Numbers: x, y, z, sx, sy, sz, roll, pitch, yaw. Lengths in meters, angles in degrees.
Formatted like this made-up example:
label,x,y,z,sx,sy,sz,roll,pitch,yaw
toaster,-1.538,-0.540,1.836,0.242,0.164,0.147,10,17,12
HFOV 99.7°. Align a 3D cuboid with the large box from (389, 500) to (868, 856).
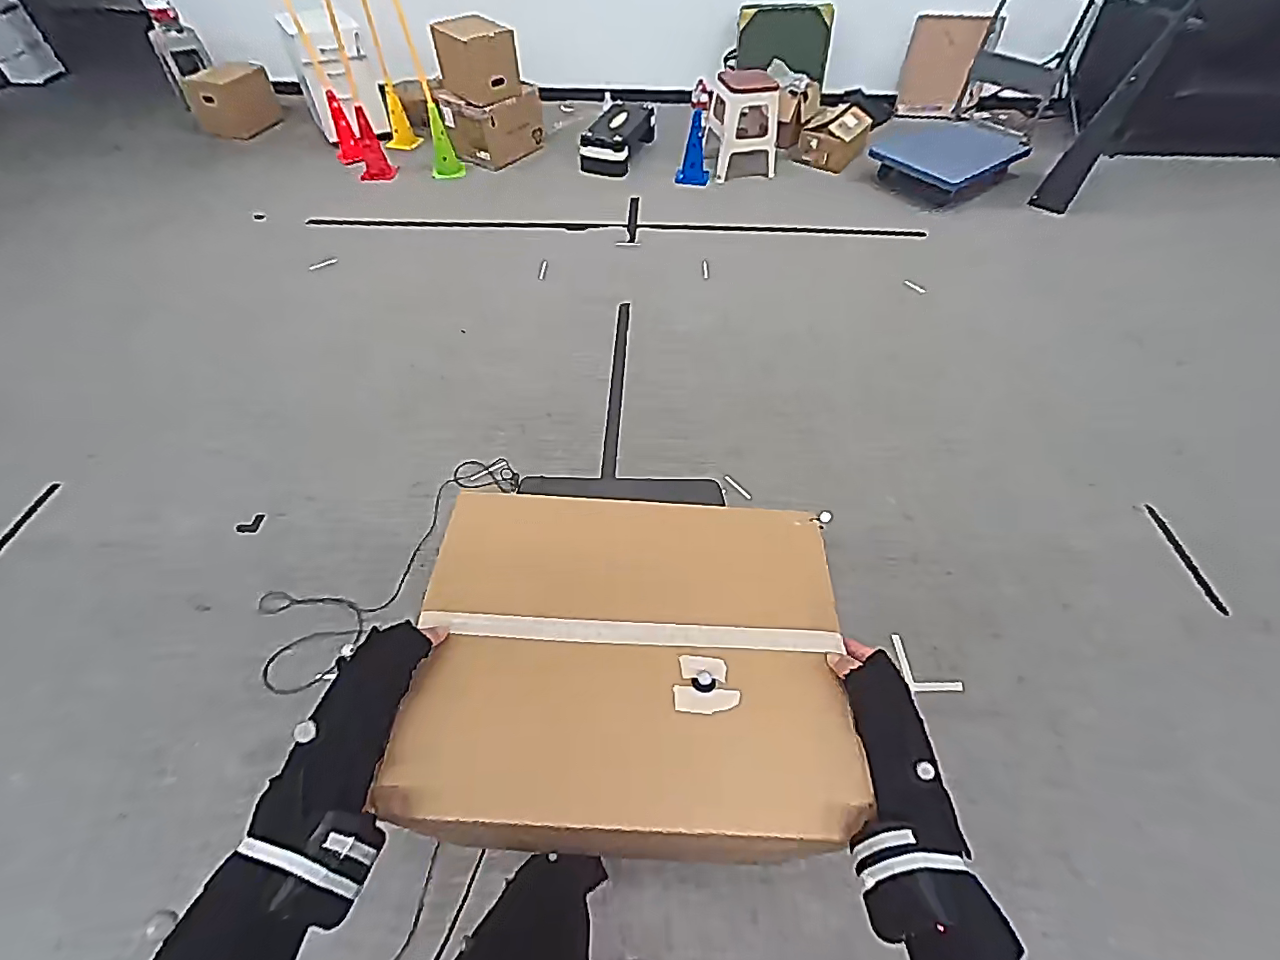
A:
label,x,y,z,sx,sy,sz,roll,pitch,yaw
large box,-0.012,0.245,0.648,0.408,0.320,0.320,4,51,-1
